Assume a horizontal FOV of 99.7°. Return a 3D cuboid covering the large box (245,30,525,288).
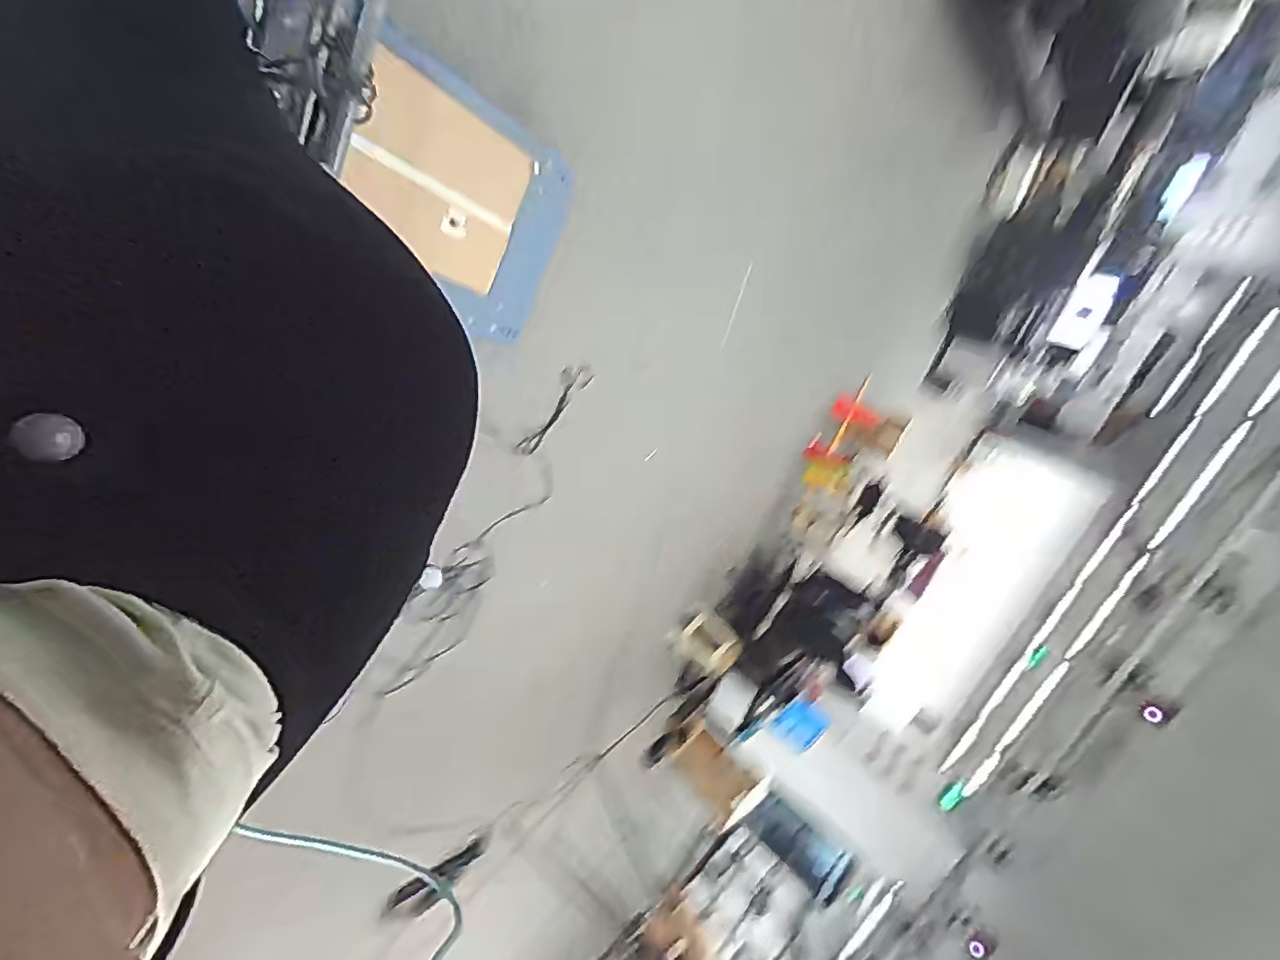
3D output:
[{"bbox_3d":[-0.534,-0.657,1.150,0.408,0.320,0.320,6,112,-55],"label":"large box"}]
